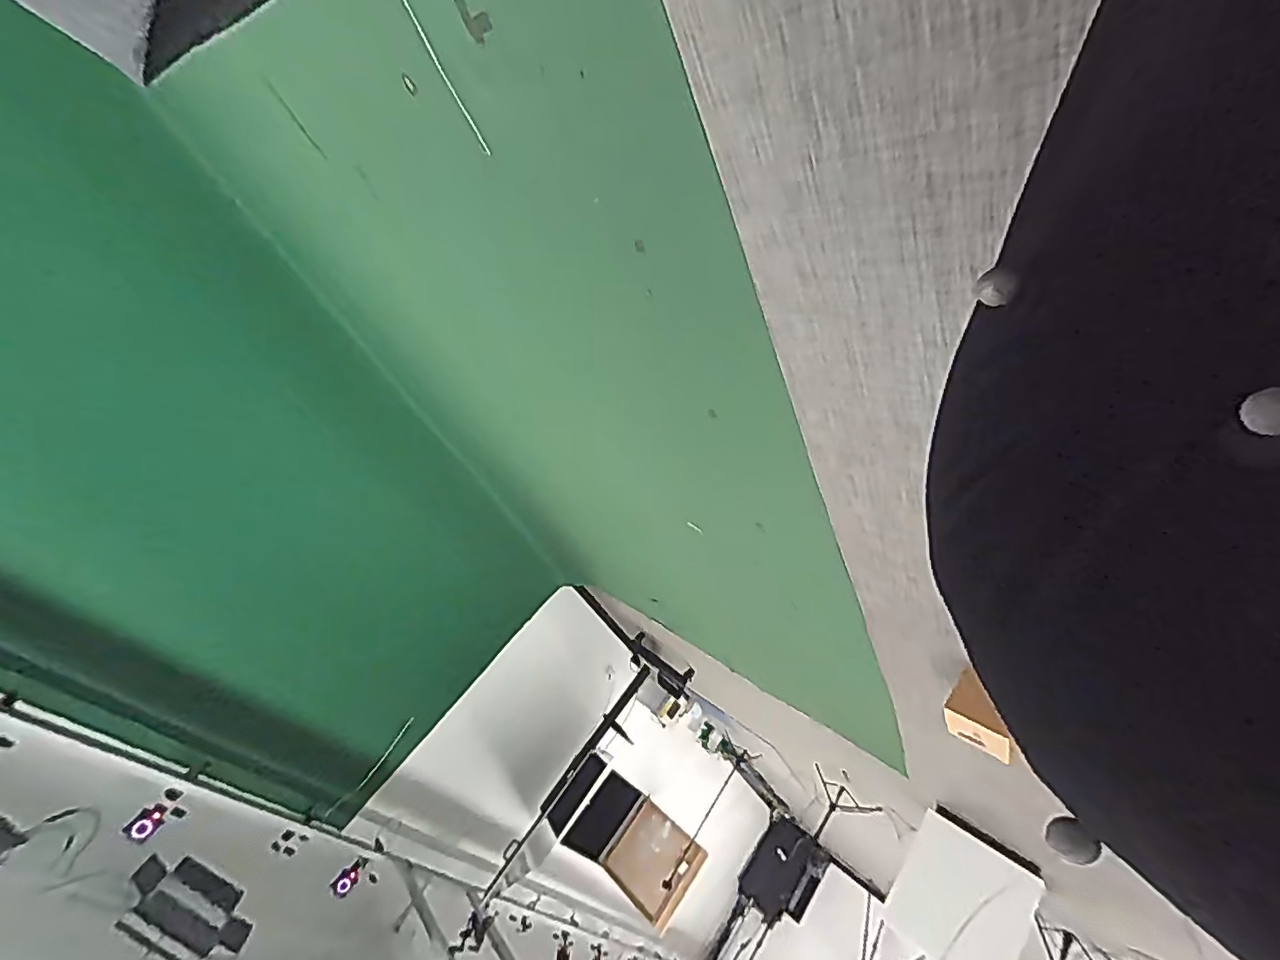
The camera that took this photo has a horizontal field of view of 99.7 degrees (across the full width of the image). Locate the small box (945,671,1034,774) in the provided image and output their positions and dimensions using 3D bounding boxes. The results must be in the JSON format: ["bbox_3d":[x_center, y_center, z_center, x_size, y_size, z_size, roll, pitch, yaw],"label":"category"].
[{"bbox_3d":[0.997,0.685,1.539,0.168,0.176,0.179,19,147,46],"label":"small box"}]
